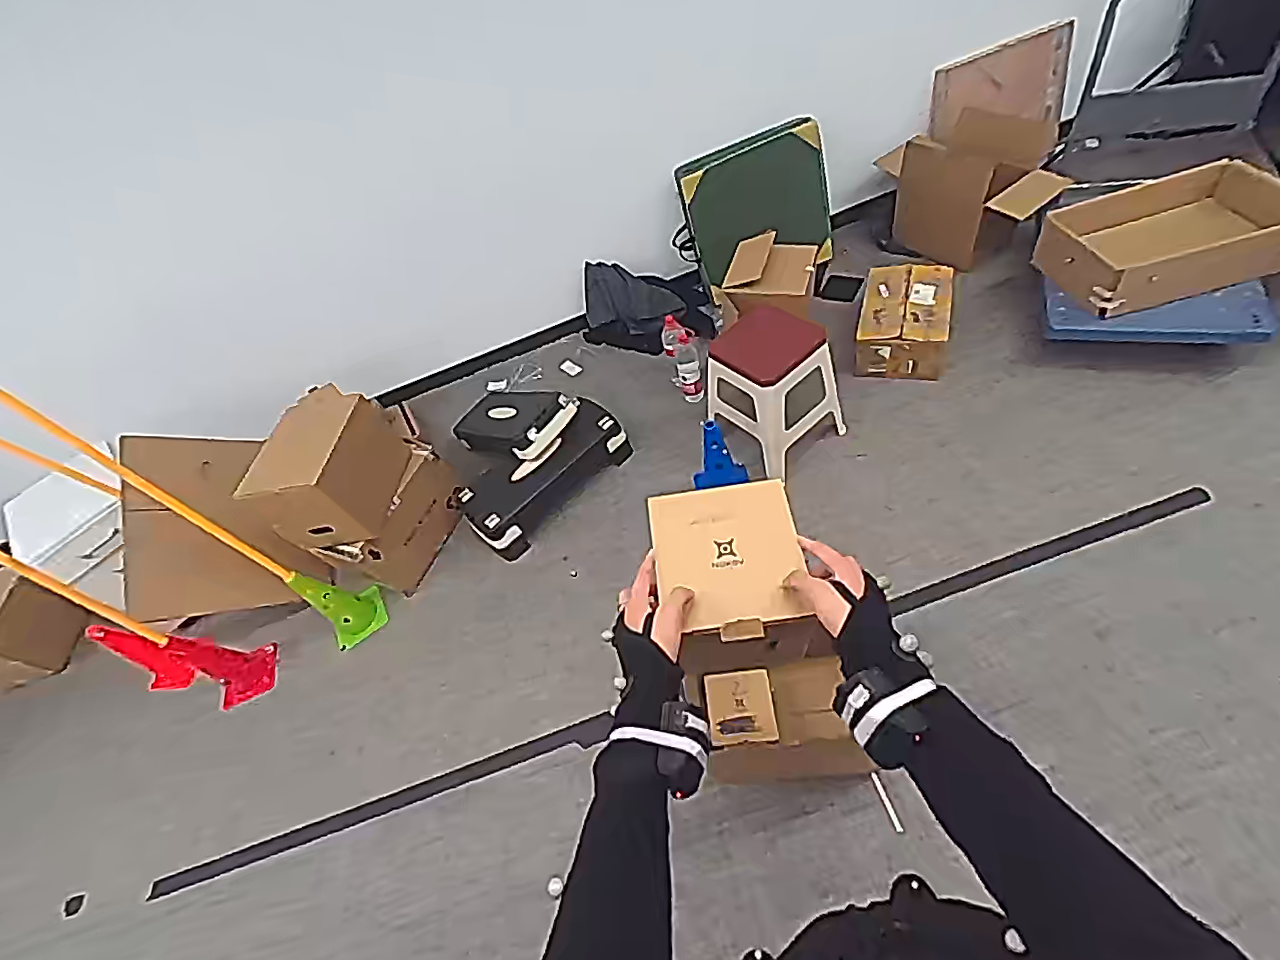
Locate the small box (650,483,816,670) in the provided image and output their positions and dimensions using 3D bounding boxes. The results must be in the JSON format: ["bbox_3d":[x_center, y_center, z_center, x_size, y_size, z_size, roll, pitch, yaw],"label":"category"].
[{"bbox_3d":[0.110,0.129,0.677,0.168,0.176,0.179,-8,56,4],"label":"small box"}]
